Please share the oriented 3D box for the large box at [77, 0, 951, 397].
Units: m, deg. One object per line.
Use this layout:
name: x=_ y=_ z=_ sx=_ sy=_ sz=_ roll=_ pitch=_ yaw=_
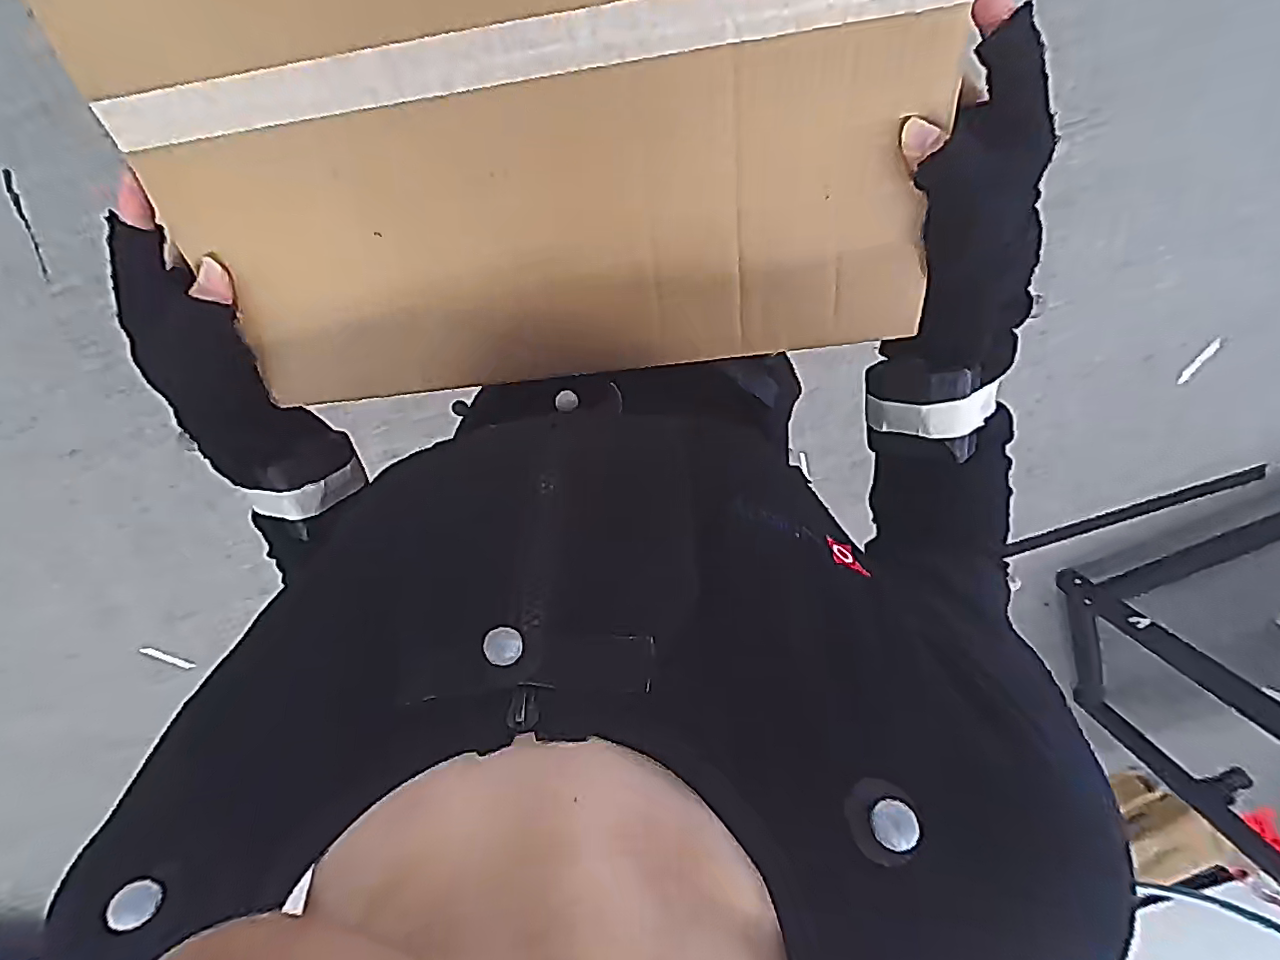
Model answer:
large box: x=-0.054 y=-0.284 z=0.379 sx=0.408 sy=0.320 sz=0.320 roll=-5 pitch=126 yaw=6
